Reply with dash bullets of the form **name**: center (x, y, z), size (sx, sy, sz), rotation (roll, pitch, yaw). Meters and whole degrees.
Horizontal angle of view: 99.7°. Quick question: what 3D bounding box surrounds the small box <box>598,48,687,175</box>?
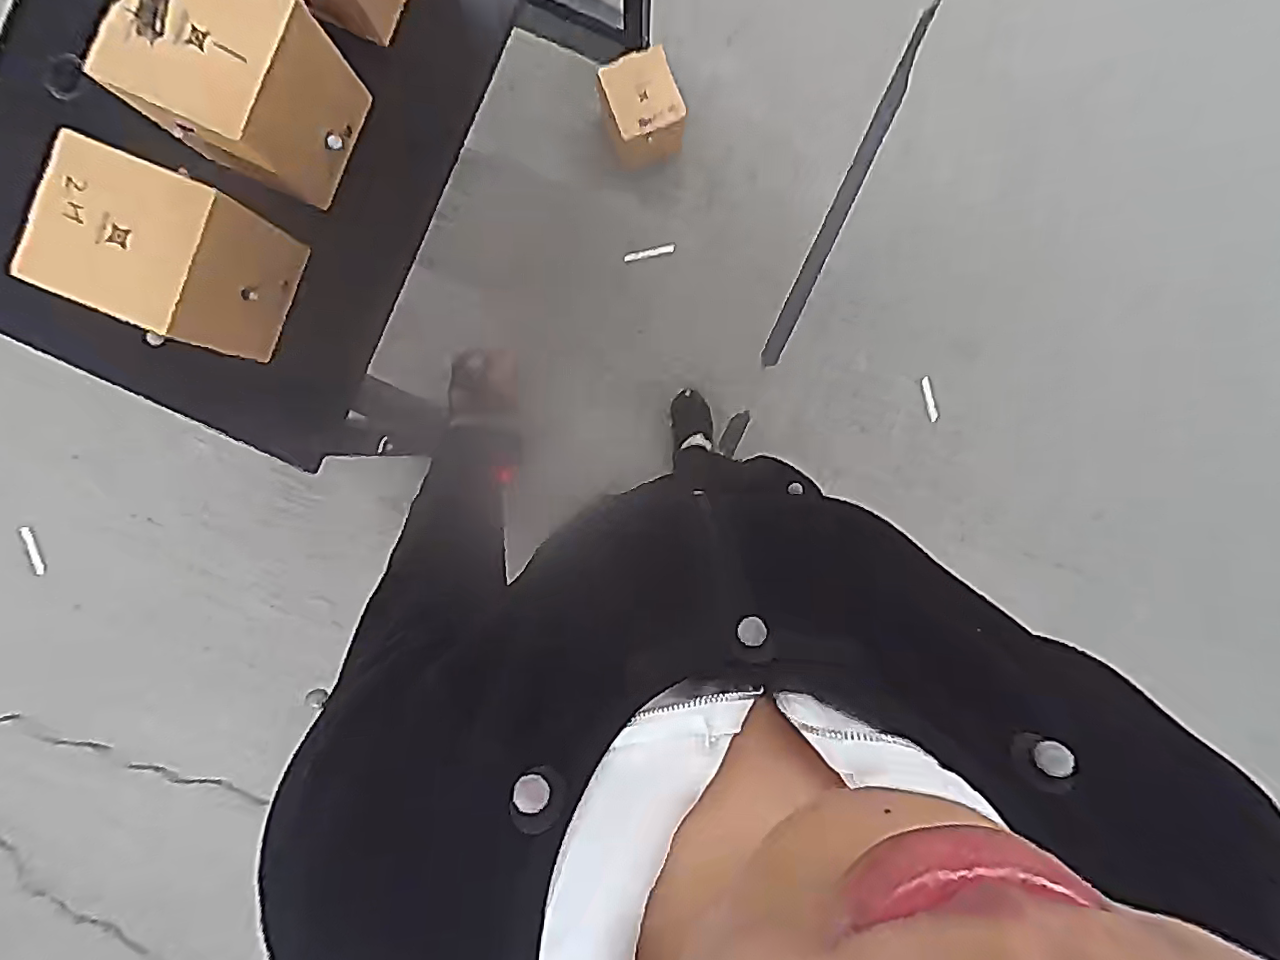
- **small box**: center (0.005, -0.911, 1.353), size (0.168, 0.176, 0.179), rotation (-22, 93, 1)

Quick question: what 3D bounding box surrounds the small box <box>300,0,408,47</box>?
- **small box**: center (-0.374, -0.679, 0.635), size (0.168, 0.176, 0.179), rotation (23, 94, 0)

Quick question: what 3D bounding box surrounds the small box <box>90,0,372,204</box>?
- **small box**: center (-0.465, -0.466, 0.643), size (0.179, 0.176, 0.168), rotation (24, 93, -2)
